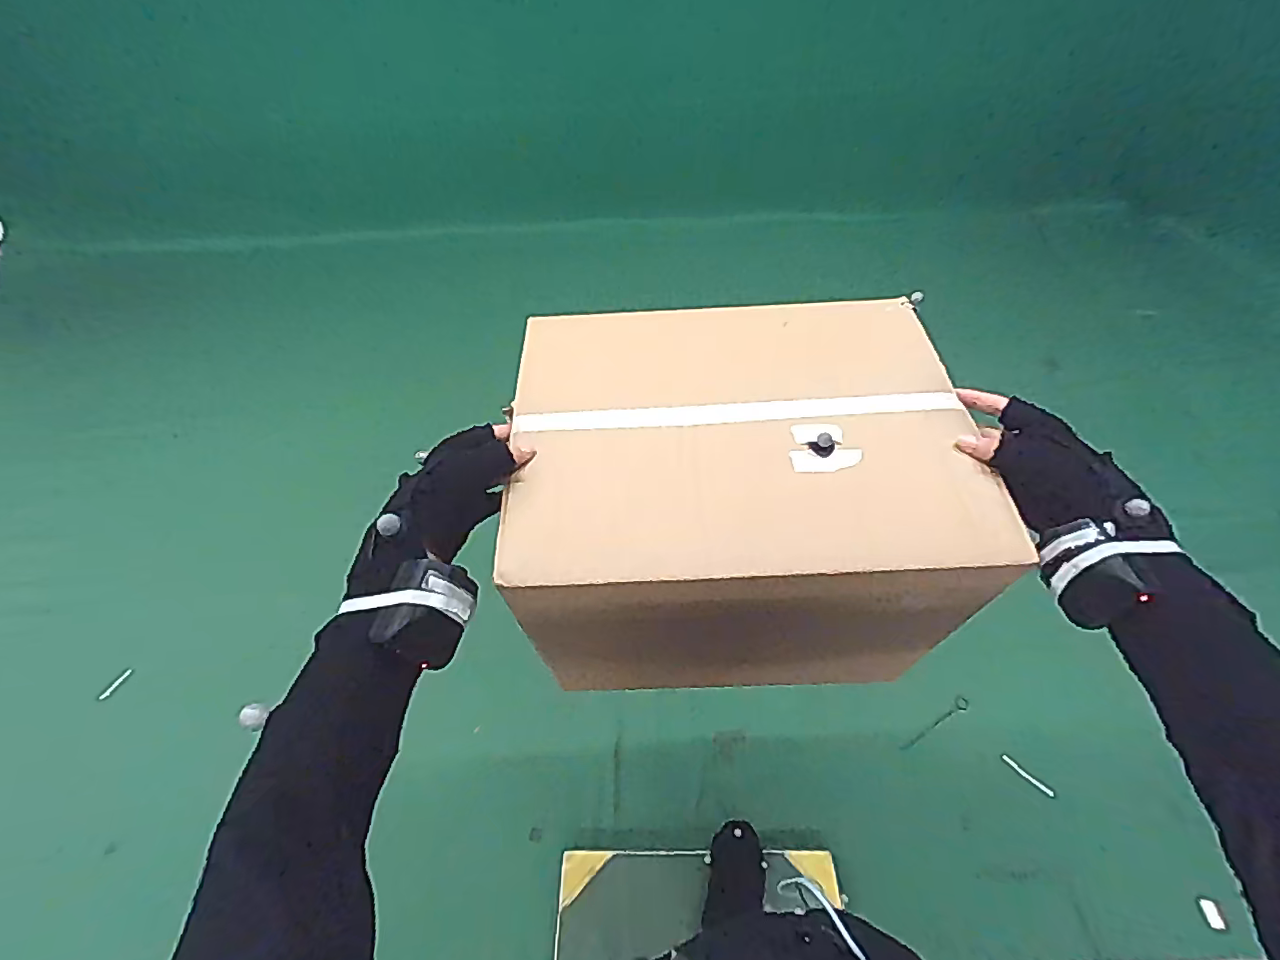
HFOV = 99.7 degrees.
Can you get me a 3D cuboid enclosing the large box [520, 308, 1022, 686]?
[{"bbox_3d":[0.098,0.032,0.625,0.408,0.320,0.320,-3,55,0],"label":"large box"}]
